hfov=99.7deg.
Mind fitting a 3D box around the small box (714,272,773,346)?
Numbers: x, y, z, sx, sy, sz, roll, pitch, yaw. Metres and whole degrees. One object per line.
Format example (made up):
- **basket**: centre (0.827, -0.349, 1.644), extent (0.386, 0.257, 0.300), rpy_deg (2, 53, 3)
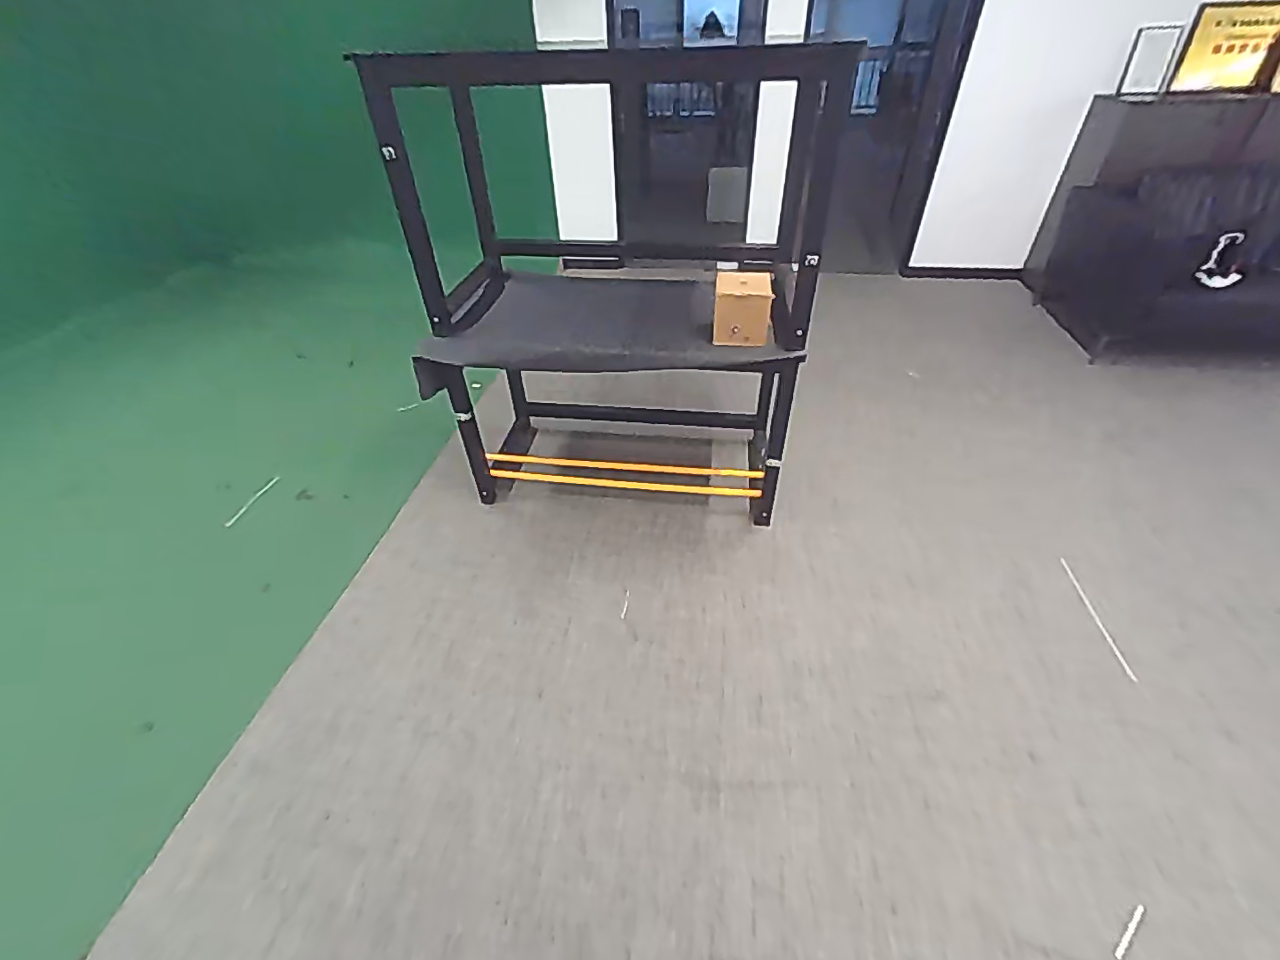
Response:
- **small box**: centre (0.321, -0.538, 1.693), extent (0.168, 0.176, 0.179), rpy_deg (3, 41, 7)
